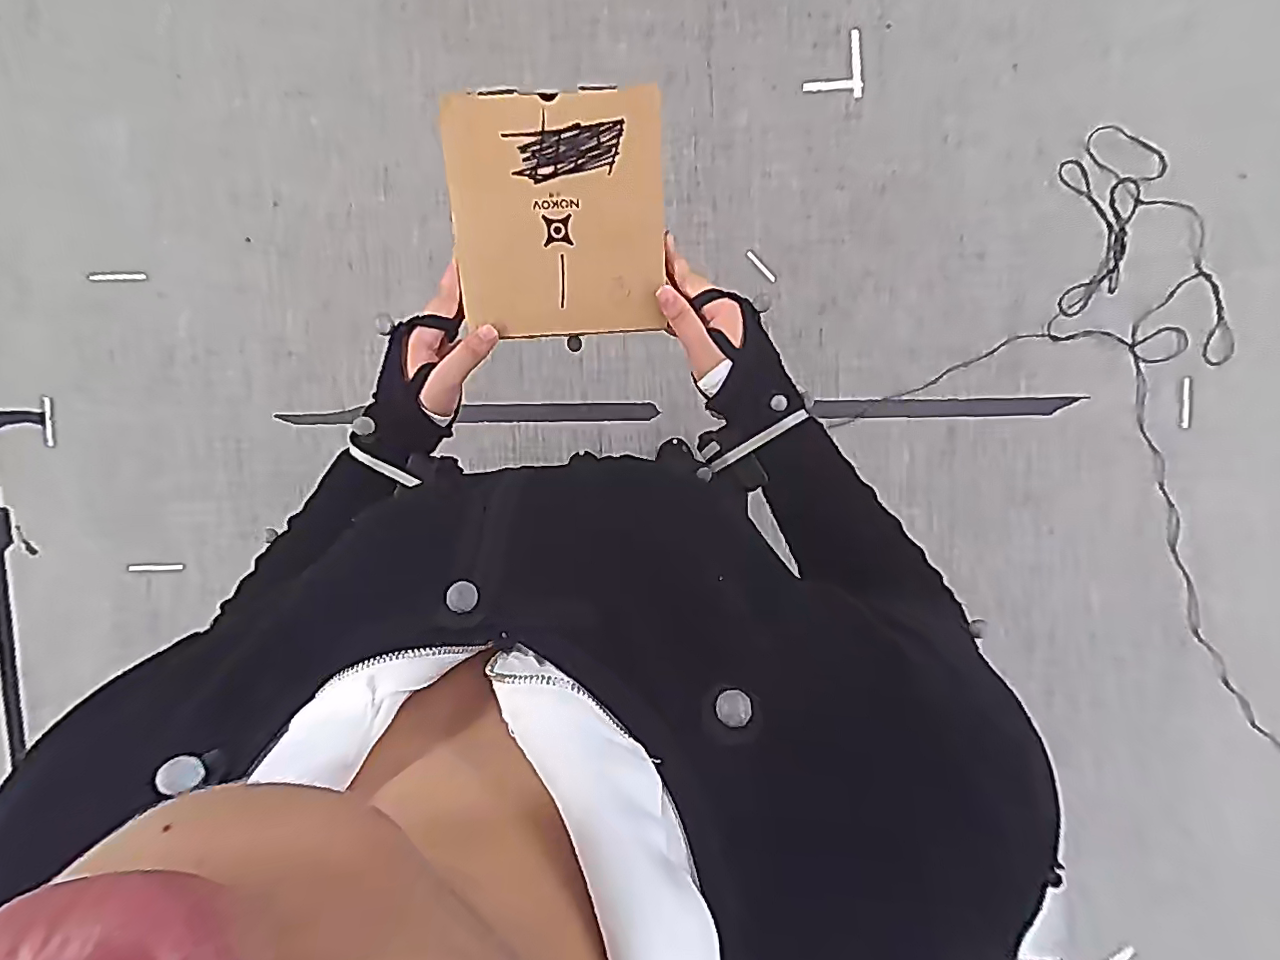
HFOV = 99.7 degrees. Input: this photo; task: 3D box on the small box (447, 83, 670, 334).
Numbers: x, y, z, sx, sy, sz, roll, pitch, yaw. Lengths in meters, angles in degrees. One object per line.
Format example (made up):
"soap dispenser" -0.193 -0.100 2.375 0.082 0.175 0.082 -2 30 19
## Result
"small box" -0.062 -0.228 0.497 0.168 0.176 0.179 -3 106 -1
